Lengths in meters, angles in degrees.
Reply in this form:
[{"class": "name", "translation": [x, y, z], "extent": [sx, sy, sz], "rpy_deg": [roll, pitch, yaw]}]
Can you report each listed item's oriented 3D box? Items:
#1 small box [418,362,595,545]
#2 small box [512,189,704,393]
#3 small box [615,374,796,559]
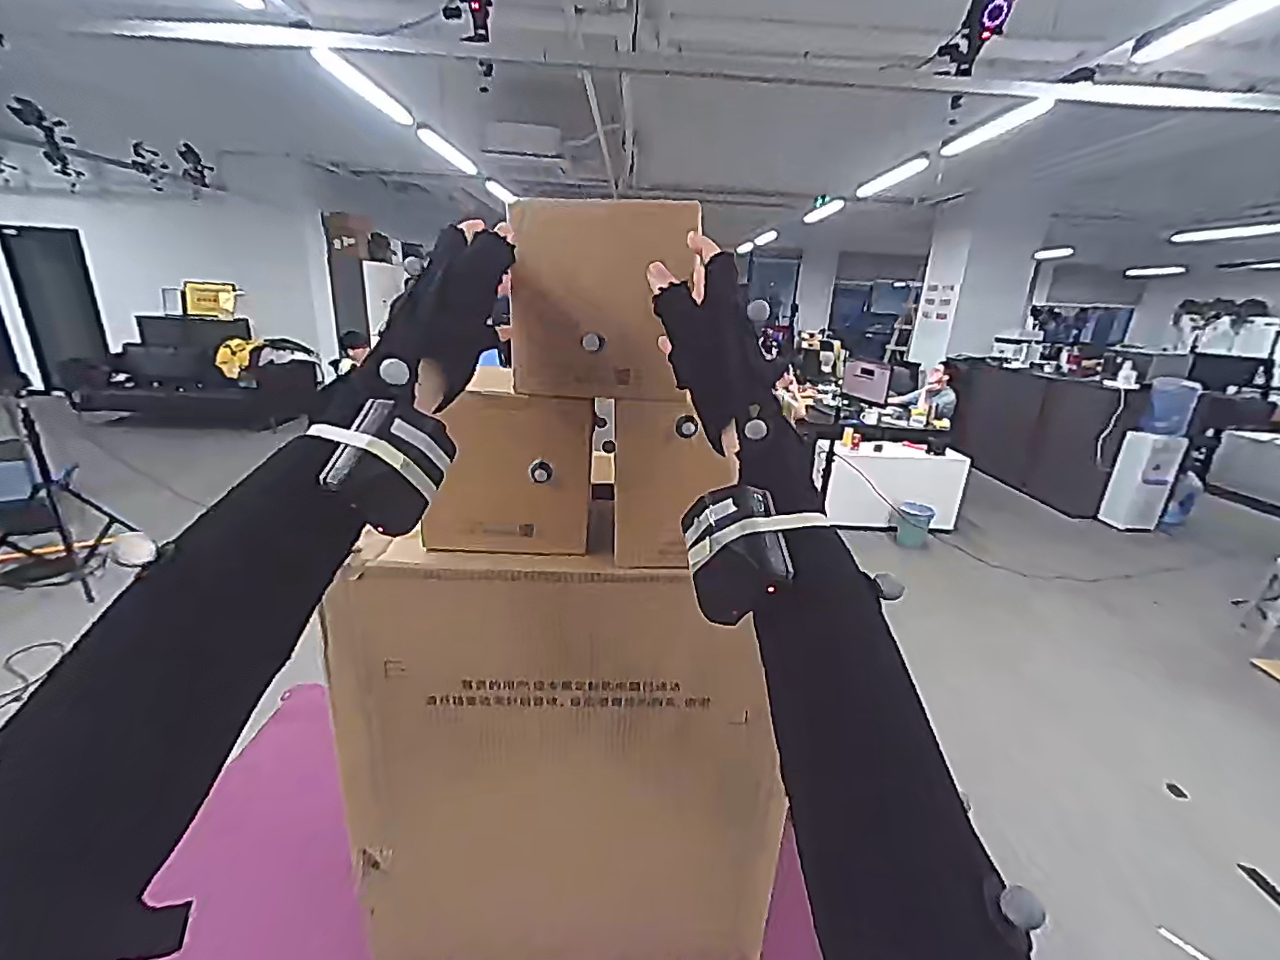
[{"class": "small box", "translation": [-0.135, -0.036, 0.606], "extent": [0.168, 0.176, 0.179], "rpy_deg": [4, 16, -6]}, {"class": "small box", "translation": [-0.023, -0.185, 0.552], "extent": [0.168, 0.176, 0.179], "rpy_deg": [3, 18, 5]}, {"class": "small box", "translation": [0.056, -0.025, 0.595], "extent": [0.168, 0.176, 0.179], "rpy_deg": [0, 17, -4]}]
